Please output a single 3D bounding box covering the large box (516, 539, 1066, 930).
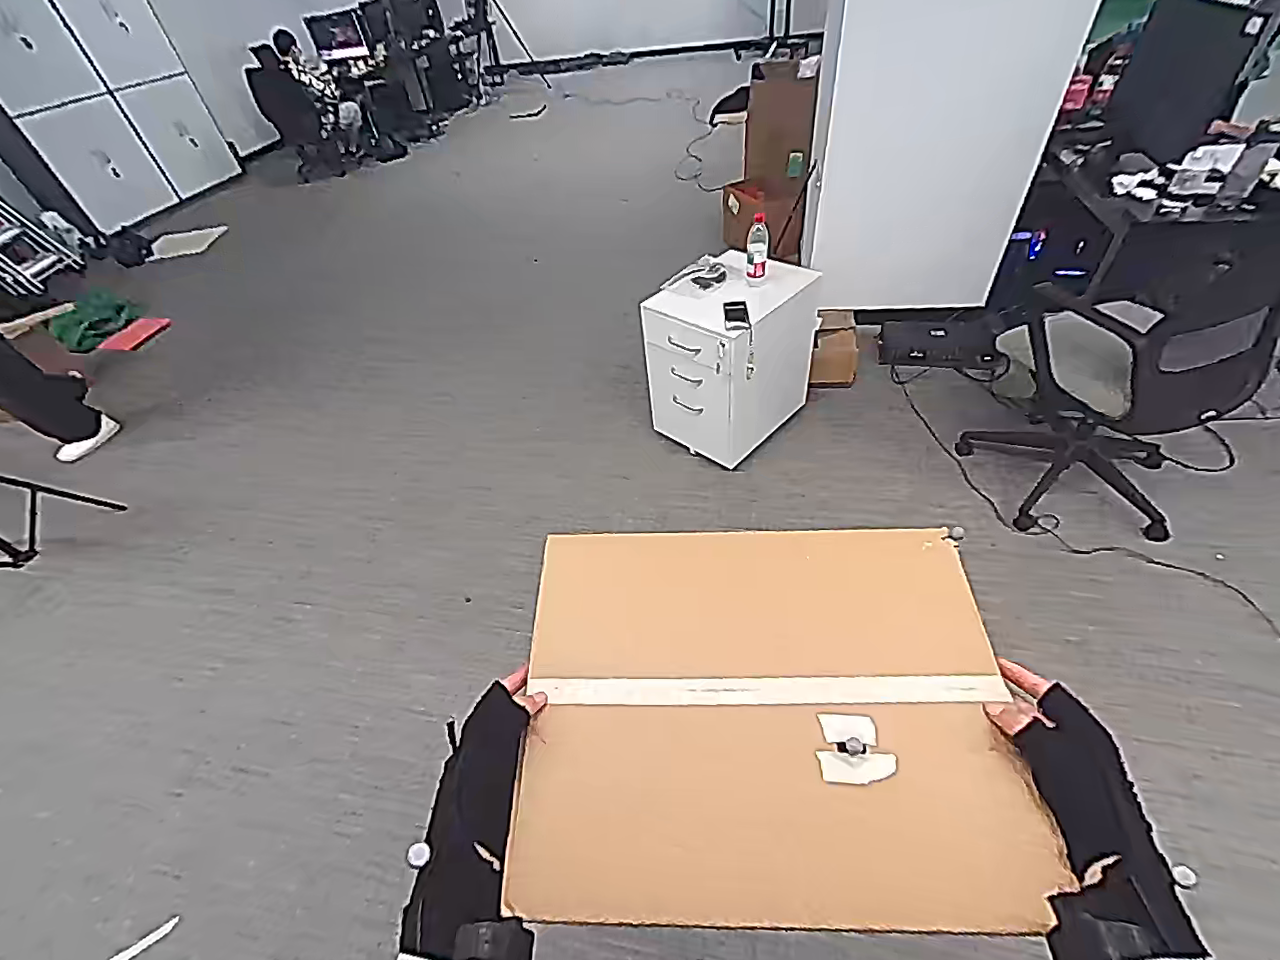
[{"bbox_3d":[0.111,0.278,0.594,0.408,0.320,0.320,-2,55,3],"label":"large box"}]
